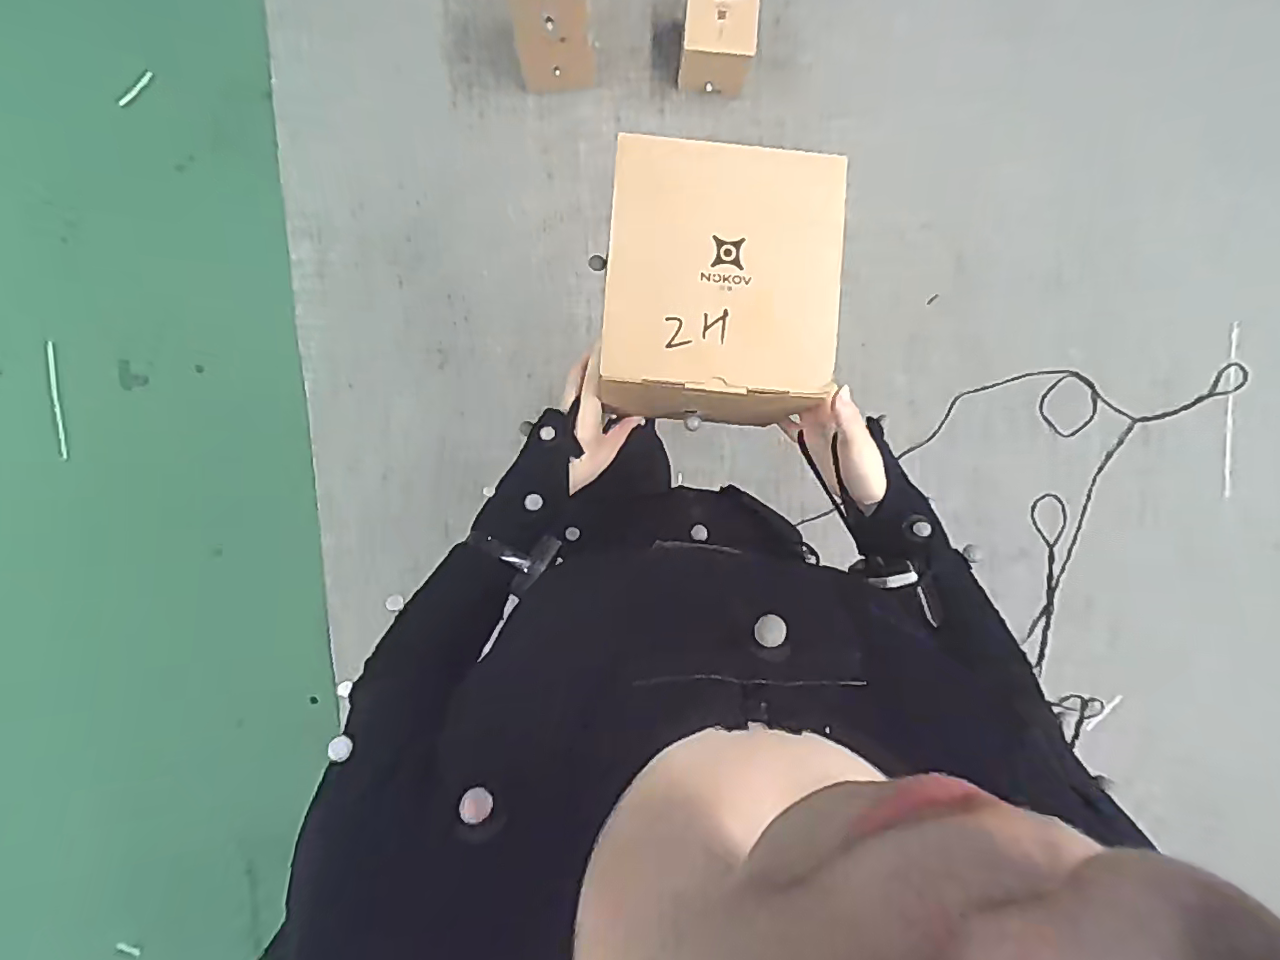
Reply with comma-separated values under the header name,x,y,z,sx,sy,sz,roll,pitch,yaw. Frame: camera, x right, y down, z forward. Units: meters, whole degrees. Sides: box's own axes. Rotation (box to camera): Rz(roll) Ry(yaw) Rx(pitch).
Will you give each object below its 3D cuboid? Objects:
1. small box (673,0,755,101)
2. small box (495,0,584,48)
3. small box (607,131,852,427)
name,x,y,z,sx,sy,sz,roll,pitch,yaw
small box,0.171,-1.053,1.291,0.168,0.176,0.179,4,97,-2
small box,-0.209,-1.037,1.119,0.168,0.176,0.179,-5,96,-1
small box,0.060,-0.149,0.459,0.168,0.176,0.179,5,88,-2
